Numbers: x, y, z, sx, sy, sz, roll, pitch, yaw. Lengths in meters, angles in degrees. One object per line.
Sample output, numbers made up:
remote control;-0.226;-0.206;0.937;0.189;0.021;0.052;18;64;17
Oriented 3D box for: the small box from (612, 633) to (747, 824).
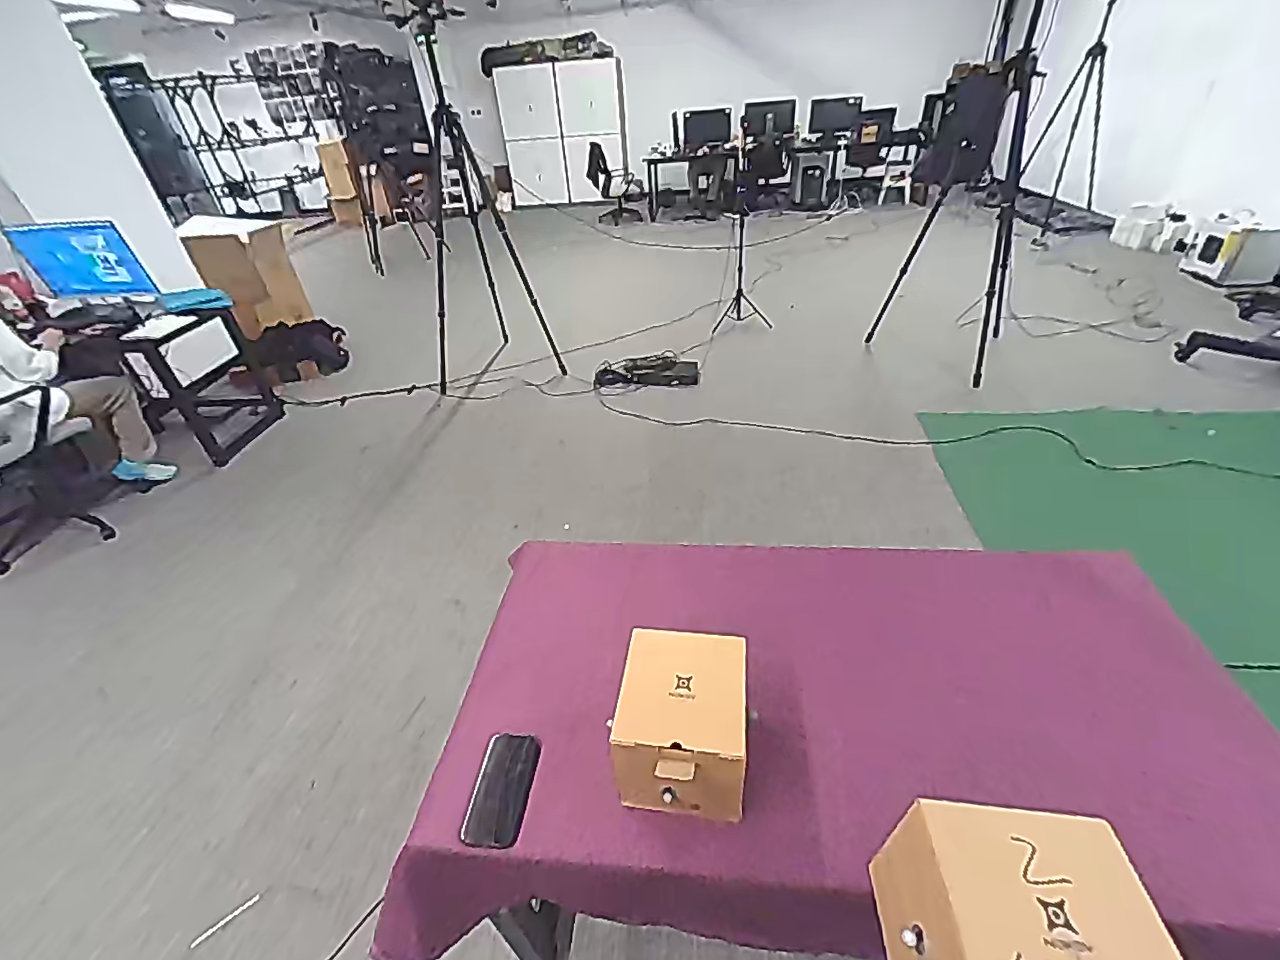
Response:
small box;0.063;0.347;0.766;0.168;0.176;0.179;2;37;10
